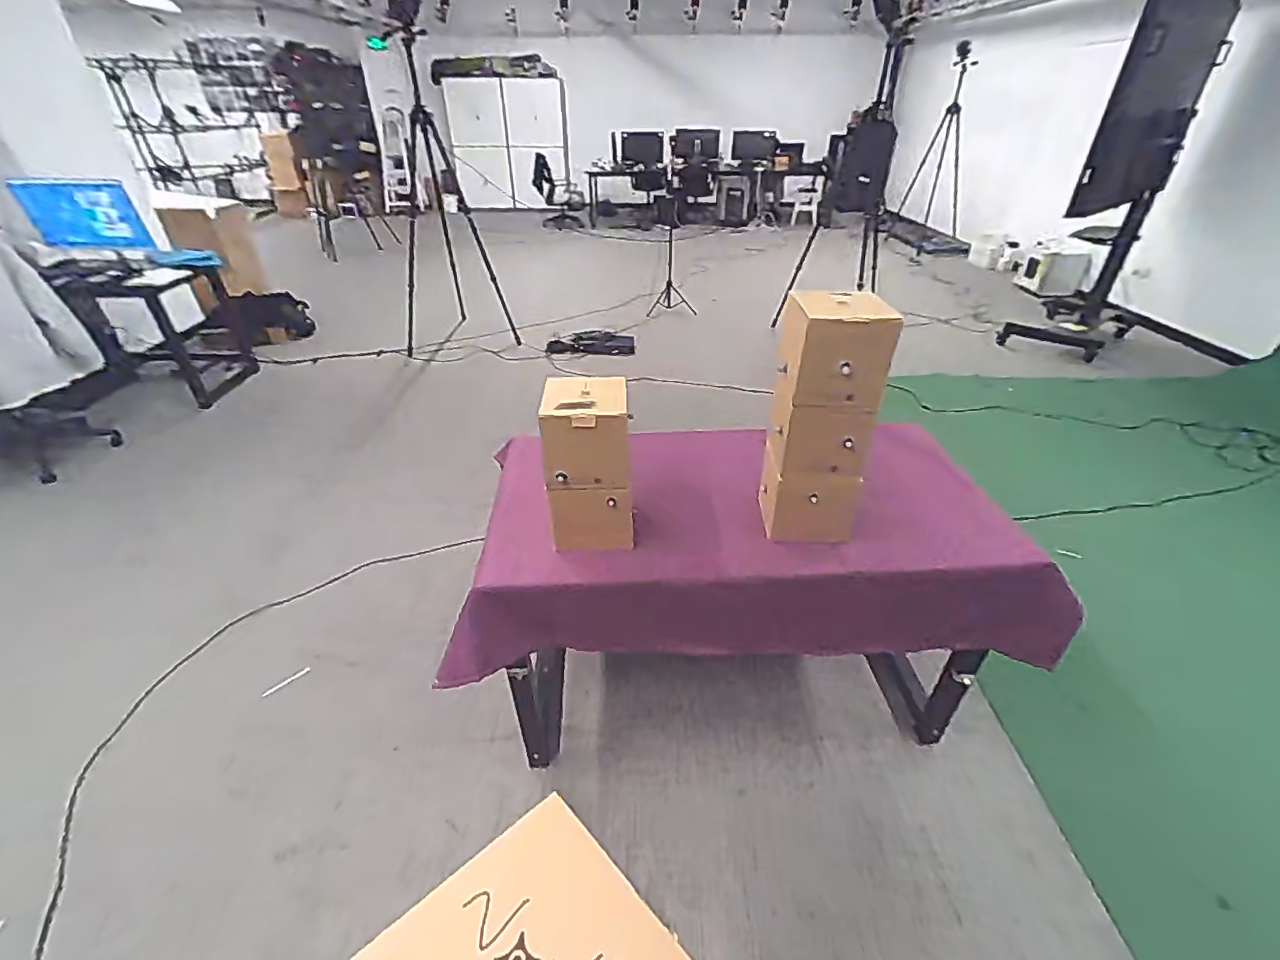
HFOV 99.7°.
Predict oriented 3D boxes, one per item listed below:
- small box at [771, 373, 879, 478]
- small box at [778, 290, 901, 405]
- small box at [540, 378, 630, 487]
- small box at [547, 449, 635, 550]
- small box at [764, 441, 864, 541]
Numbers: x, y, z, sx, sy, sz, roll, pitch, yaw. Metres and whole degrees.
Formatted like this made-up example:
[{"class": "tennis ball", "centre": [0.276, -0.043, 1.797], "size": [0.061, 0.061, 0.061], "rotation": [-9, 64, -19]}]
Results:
[{"class": "small box", "centre": [0.373, -0.116, 1.123], "size": [0.168, 0.176, 0.179], "rotation": [1, 34, 3]}, {"class": "small box", "centre": [0.367, -0.252, 1.030], "size": [0.168, 0.176, 0.179], "rotation": [1, 35, 2]}, {"class": "small box", "centre": [-0.105, -0.095, 1.107], "size": [0.168, 0.176, 0.179], "rotation": [-1, 33, -1]}, {"class": "small box", "centre": [-0.101, 0.043, 1.197], "size": [0.179, 0.176, 0.168], "rotation": [-1, 34, -1]}, {"class": "small box", "centre": [0.376, 0.023, 1.208], "size": [0.179, 0.176, 0.168], "rotation": [1, 35, 3]}]
